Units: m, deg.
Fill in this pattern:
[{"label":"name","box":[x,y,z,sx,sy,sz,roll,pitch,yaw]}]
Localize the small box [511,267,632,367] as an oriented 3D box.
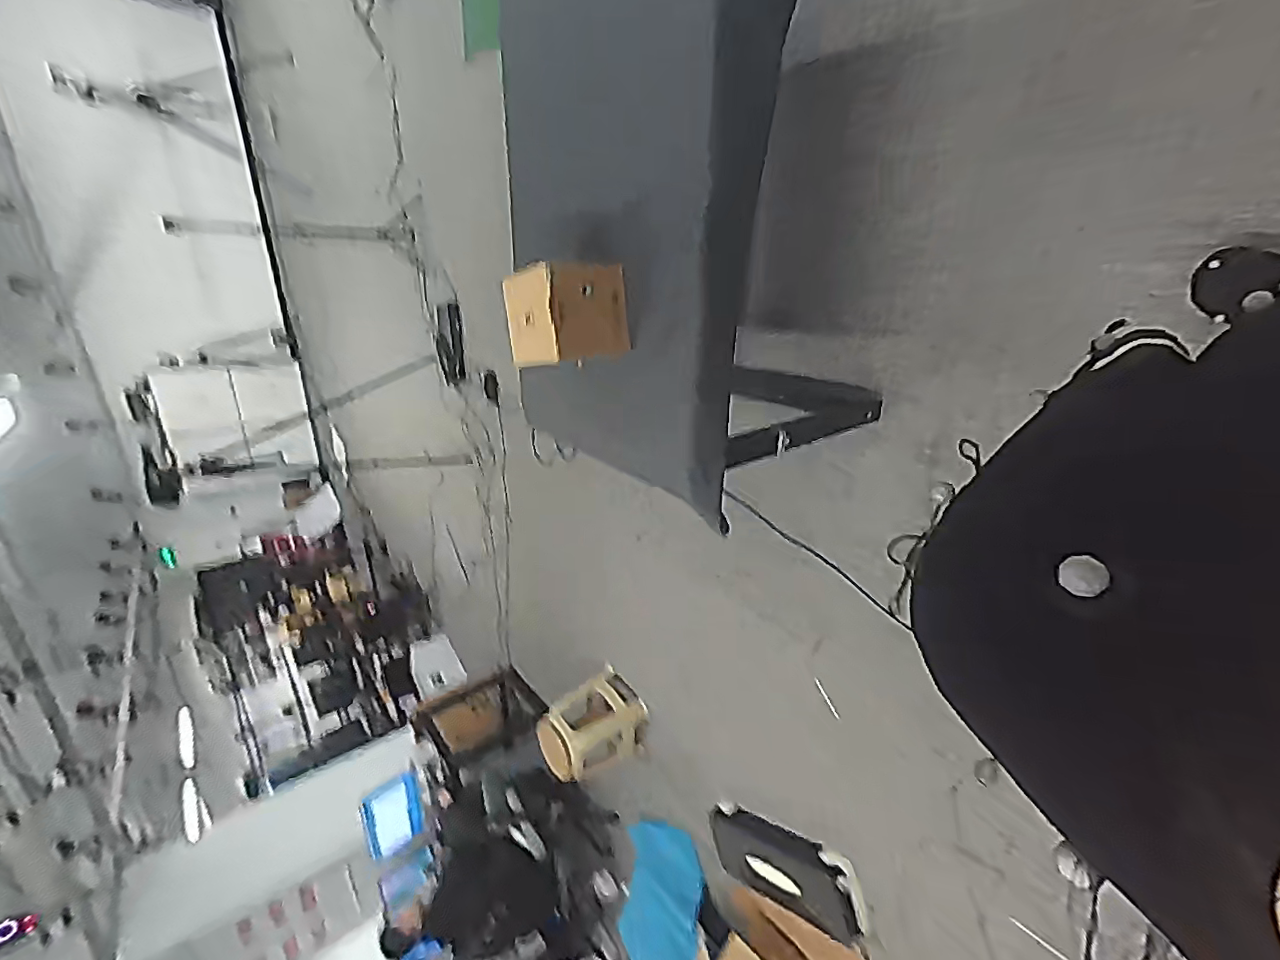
[{"label":"small box","box":[-0.127,-0.314,1.052,0.179,0.176,0.168,9,109,52]}]
